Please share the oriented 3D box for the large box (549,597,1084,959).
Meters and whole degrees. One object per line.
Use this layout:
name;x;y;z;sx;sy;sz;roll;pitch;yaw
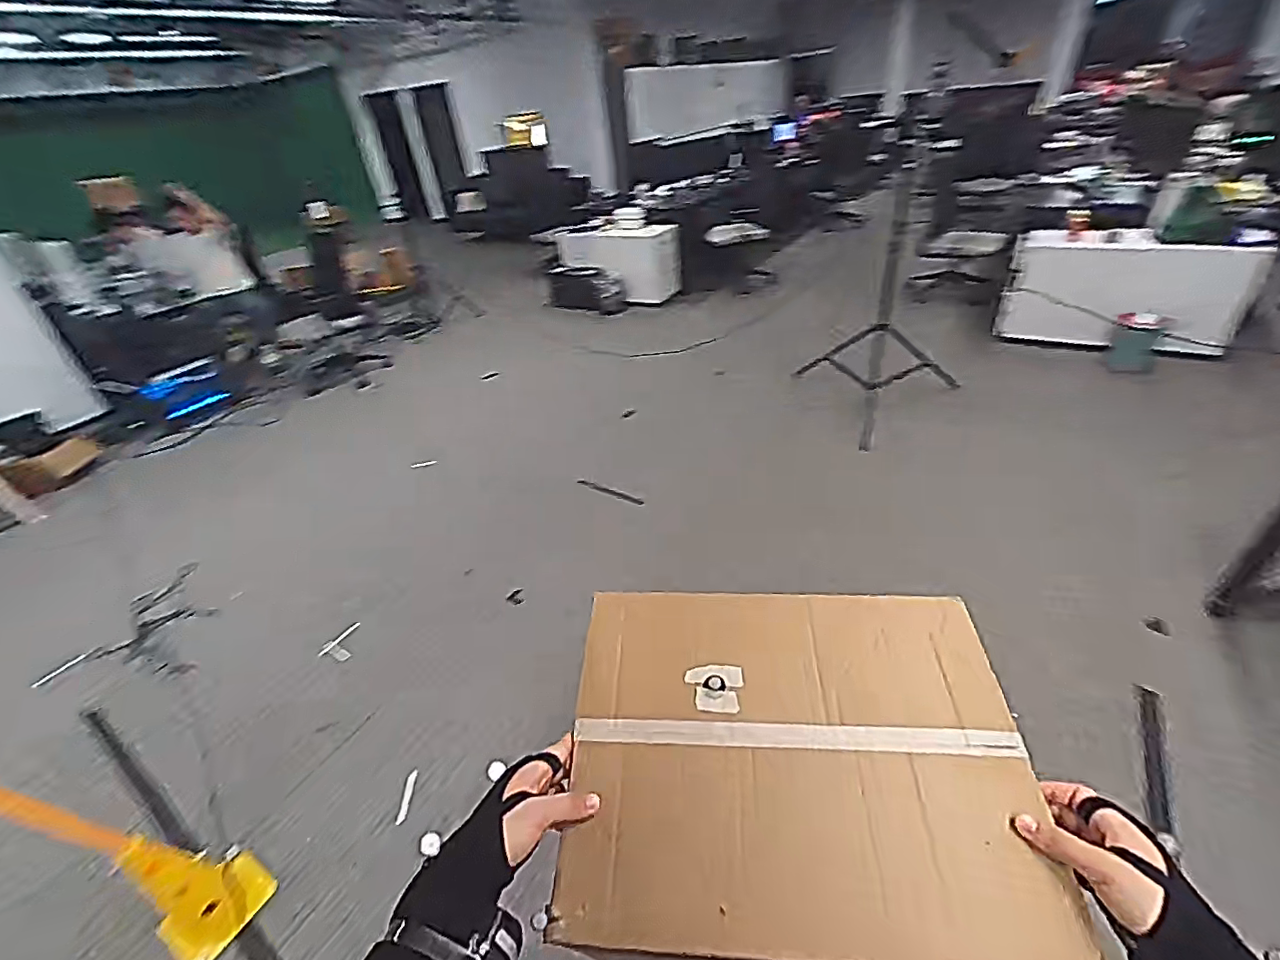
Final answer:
large box;0.147;0.352;0.614;0.408;0.320;0.320;-2;44;6
